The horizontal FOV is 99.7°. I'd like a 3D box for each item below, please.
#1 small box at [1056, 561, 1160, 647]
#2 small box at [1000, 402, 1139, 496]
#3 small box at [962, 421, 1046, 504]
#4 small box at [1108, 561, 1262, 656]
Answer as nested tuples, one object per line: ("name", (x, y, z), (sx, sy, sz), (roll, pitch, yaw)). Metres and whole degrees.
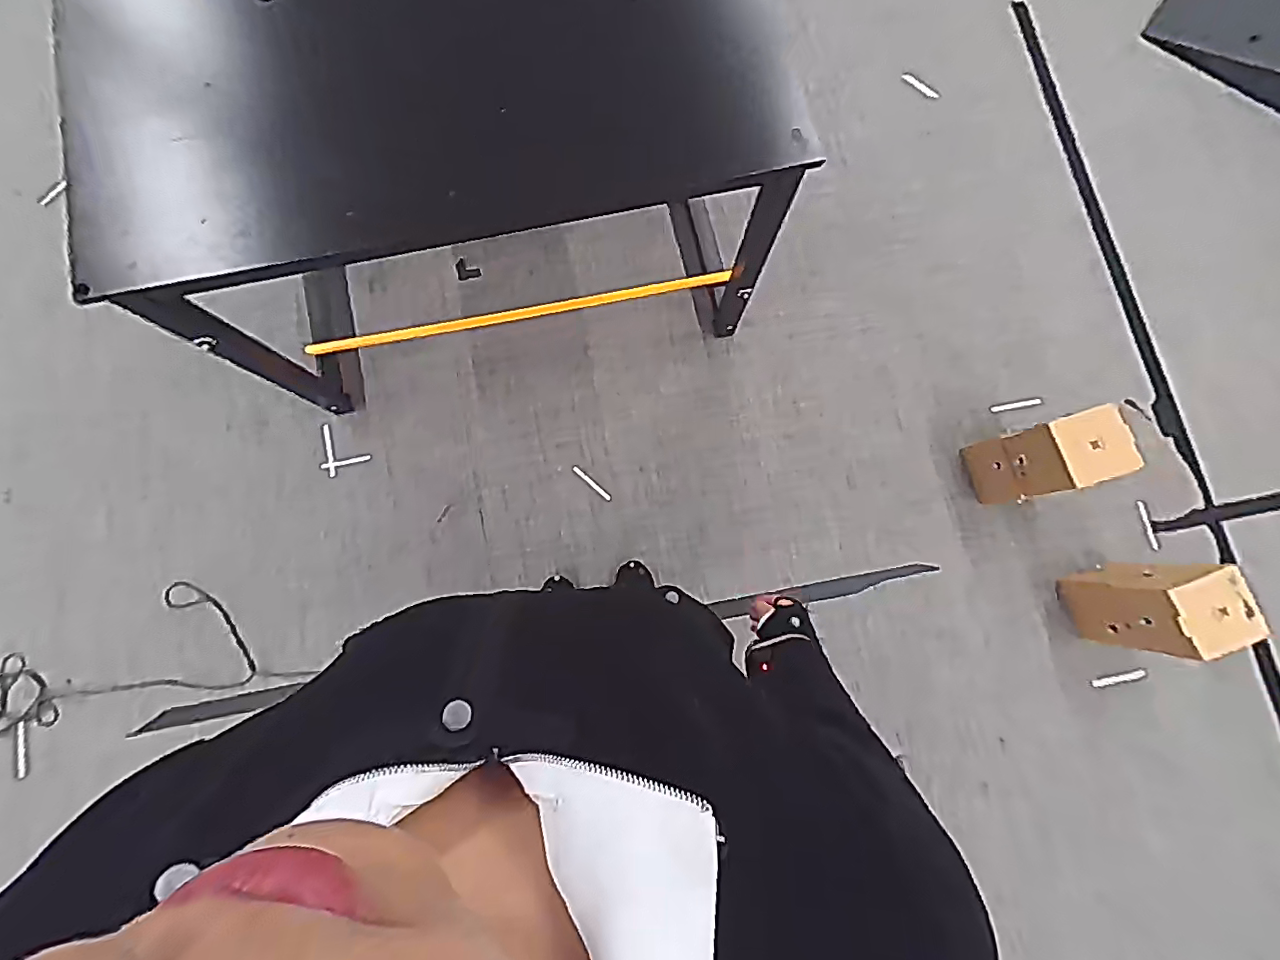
("small box", (1.272, 0.322, 1.439), (0.168, 0.176, 0.179), (-18, 82, -4))
("small box", (1.042, -0.070, 1.326), (0.179, 0.176, 0.168), (-18, 81, -2))
("small box", (1.028, -0.044, 1.487), (0.168, 0.176, 0.179), (-15, 82, -3))
("small box", (1.266, 0.298, 1.277), (0.179, 0.176, 0.168), (-19, 83, -3))
